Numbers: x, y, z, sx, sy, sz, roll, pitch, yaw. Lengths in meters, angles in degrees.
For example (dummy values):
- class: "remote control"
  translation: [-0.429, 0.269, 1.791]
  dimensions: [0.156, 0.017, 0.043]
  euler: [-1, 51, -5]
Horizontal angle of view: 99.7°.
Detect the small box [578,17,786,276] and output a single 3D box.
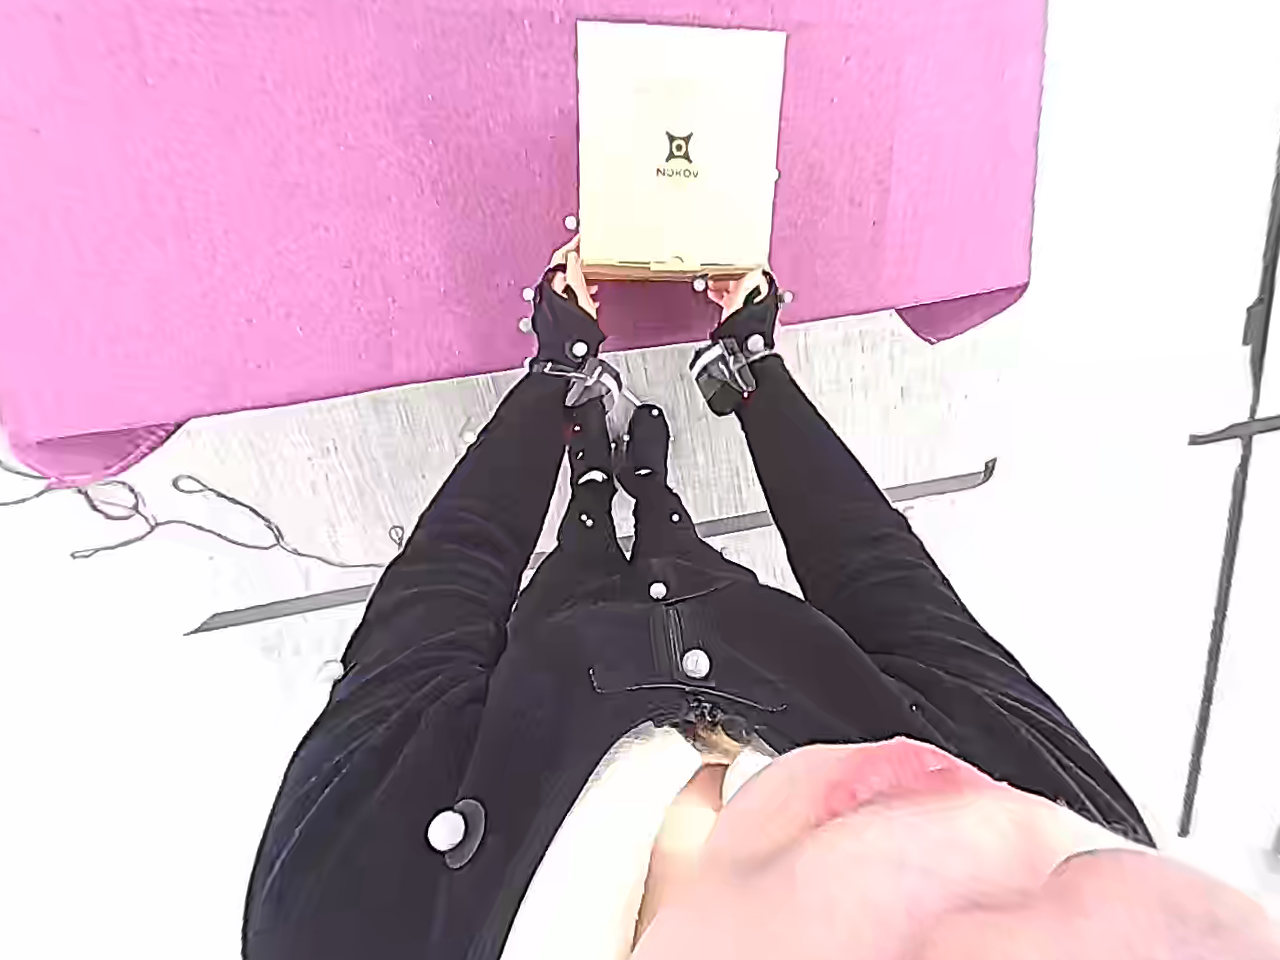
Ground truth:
- class: "small box"
  translation: [0.026, -0.294, 0.519]
  dimensions: [0.168, 0.176, 0.179]
  euler: [0, 107, -5]
